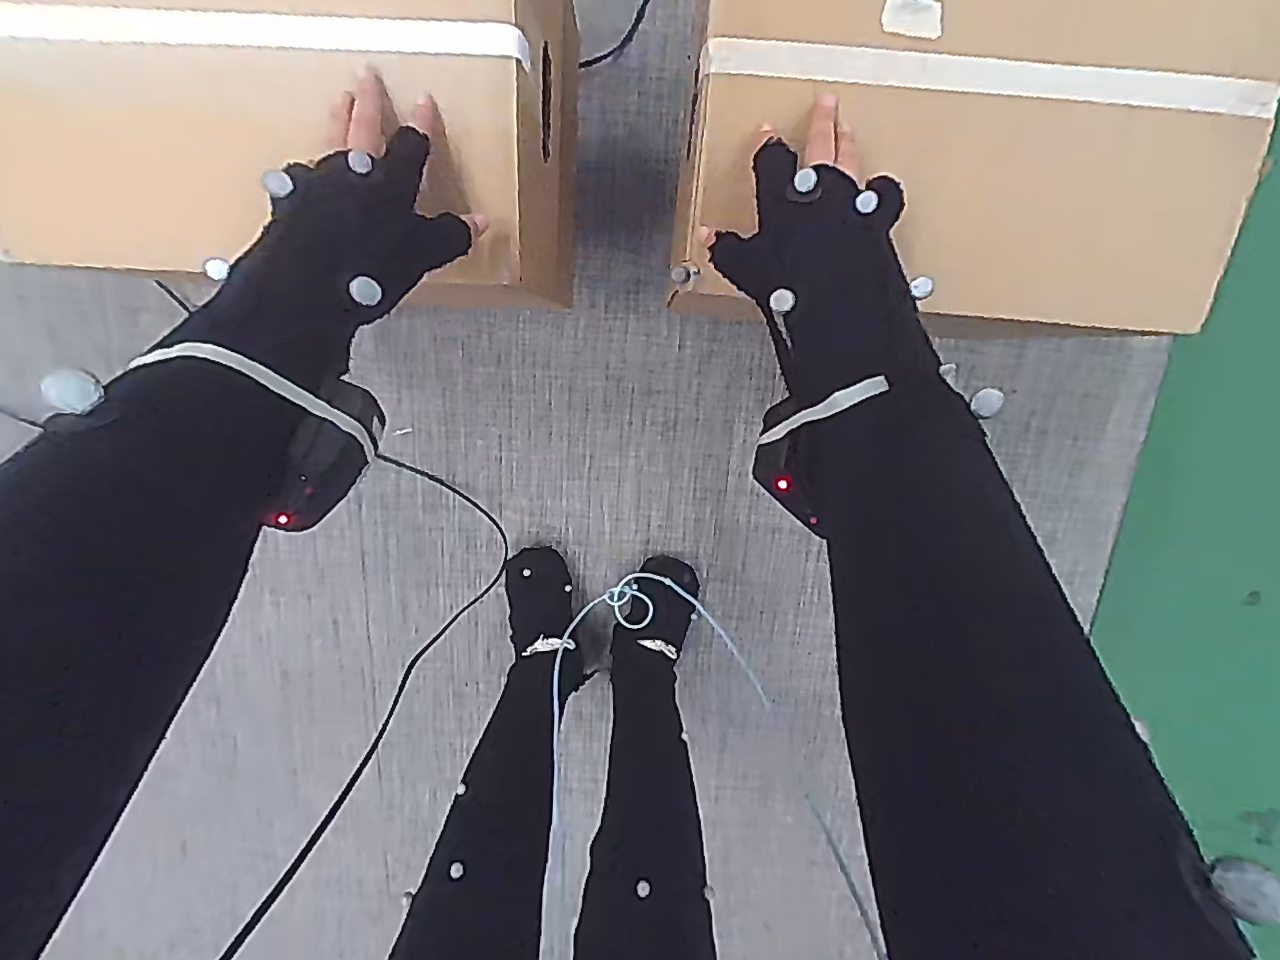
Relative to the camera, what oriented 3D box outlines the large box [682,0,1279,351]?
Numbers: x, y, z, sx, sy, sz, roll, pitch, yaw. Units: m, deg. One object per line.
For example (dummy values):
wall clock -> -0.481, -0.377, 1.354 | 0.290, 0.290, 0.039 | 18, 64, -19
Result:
large box -> 0.263, -0.309, 0.555 | 0.408, 0.320, 0.320 | 5, 104, 0
